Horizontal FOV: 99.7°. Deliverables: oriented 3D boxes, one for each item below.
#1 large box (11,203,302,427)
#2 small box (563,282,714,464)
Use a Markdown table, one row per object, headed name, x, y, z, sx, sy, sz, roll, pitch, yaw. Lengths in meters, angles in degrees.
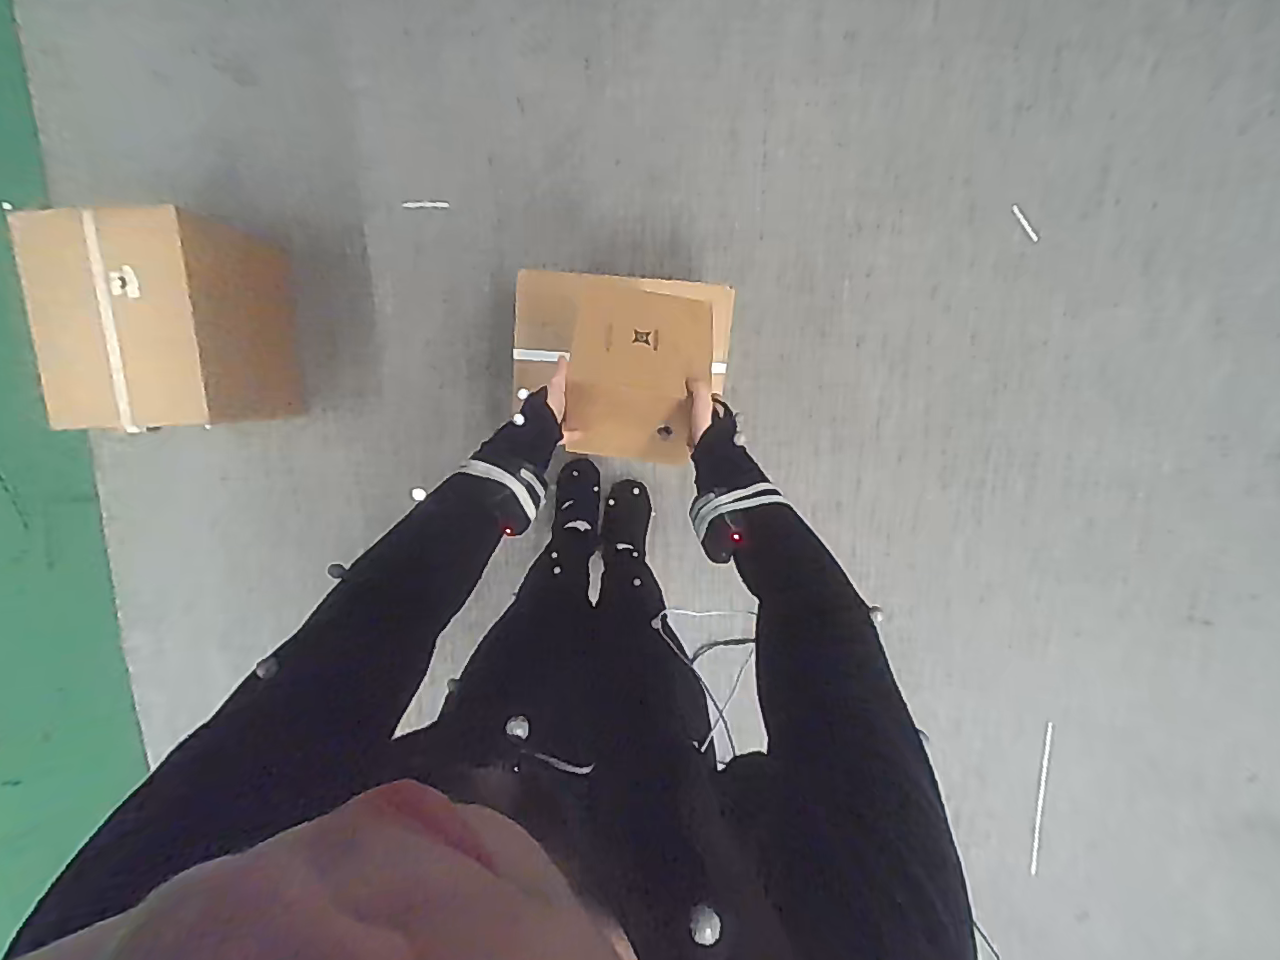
| name | x | y | z | sx | sy | sz | roll | pitch | yaw |
| --- | --- | --- | --- | --- | --- | --- | --- | --- | --- |
| large box | -0.991 | -0.325 | 1.163 | 0.320 | 0.320 | 0.408 | -1 | 99 | 0 |
| small box | -0.006 | -0.138 | 0.748 | 0.179 | 0.176 | 0.168 | 9 | 61 | -4 |
